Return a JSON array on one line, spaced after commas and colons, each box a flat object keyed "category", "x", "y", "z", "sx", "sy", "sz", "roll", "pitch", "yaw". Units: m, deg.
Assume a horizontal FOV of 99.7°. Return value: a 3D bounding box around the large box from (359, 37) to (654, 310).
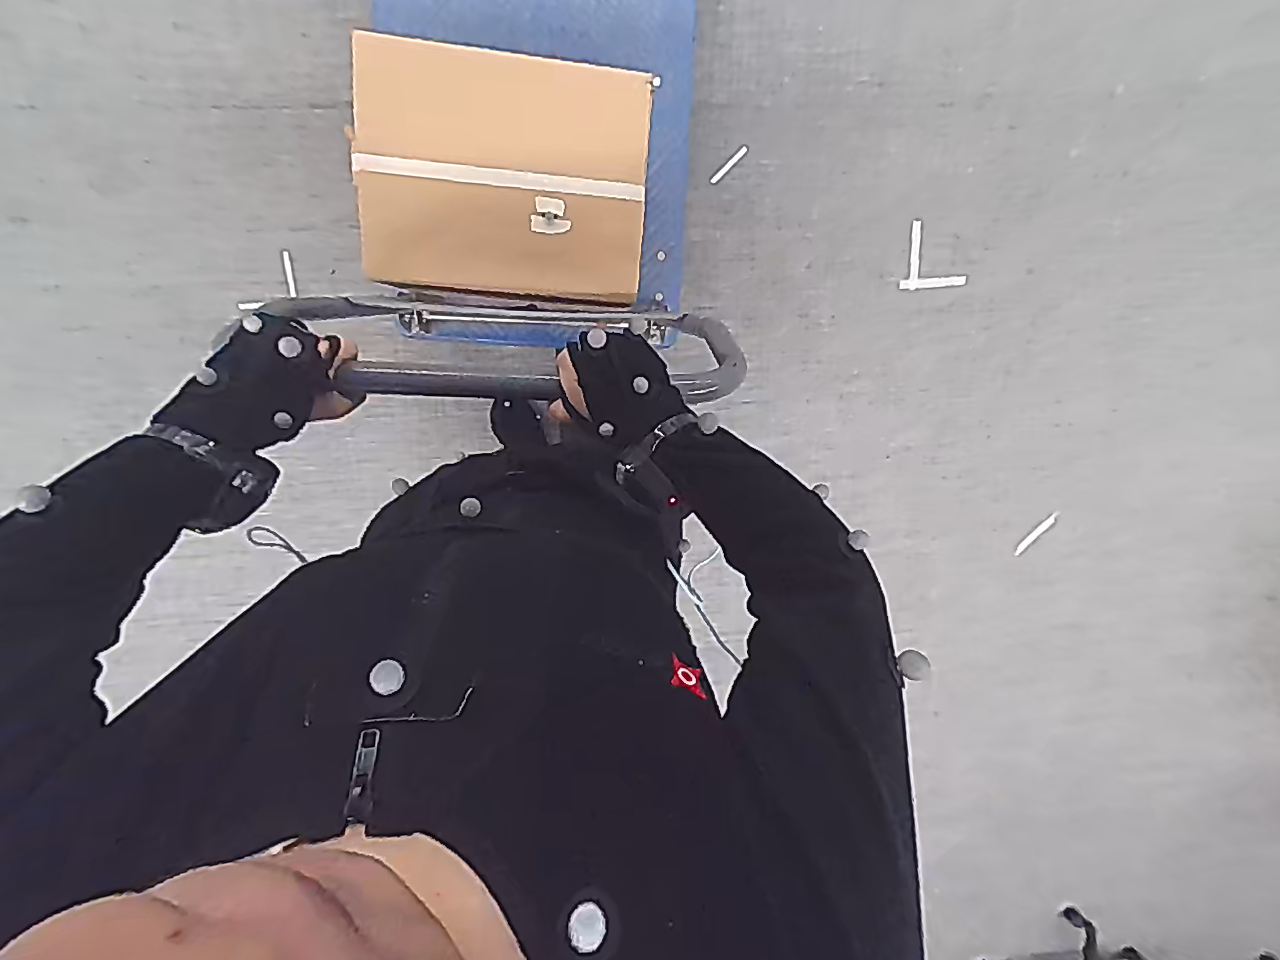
[{"category": "large box", "x": -0.206, "y": -0.469, "z": 0.919, "sx": 0.408, "sy": 0.320, "sz": 0.320, "roll": 2, "pitch": 105, "yaw": -8}]
